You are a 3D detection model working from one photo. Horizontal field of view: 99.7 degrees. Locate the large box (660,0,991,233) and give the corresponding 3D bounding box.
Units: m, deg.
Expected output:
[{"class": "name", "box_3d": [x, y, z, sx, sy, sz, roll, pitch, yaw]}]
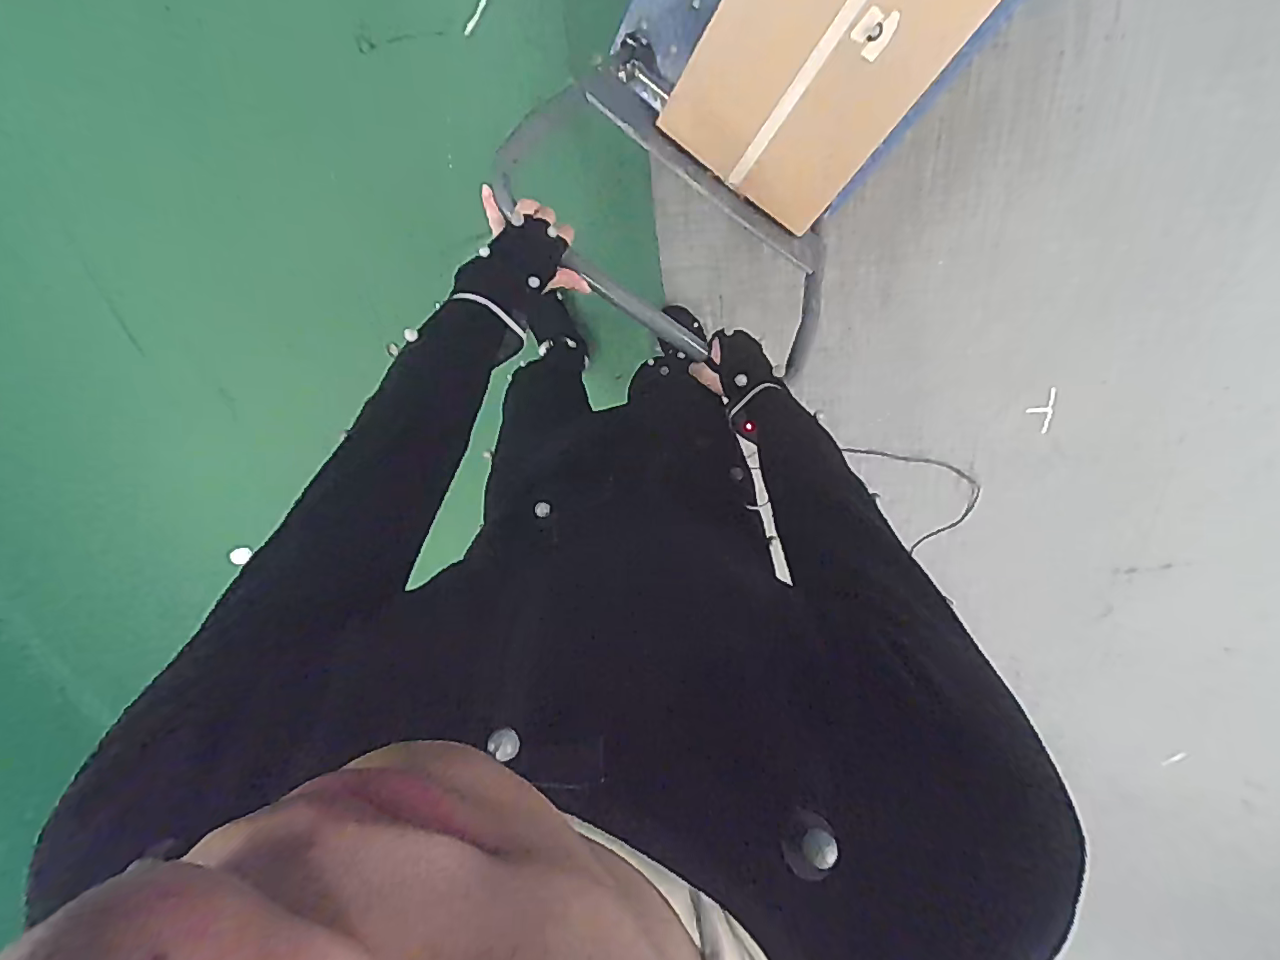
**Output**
[{"class": "large box", "box_3d": [0.288, -0.722, 0.911, 0.320, 0.320, 0.408, 32, 133, -13]}]
